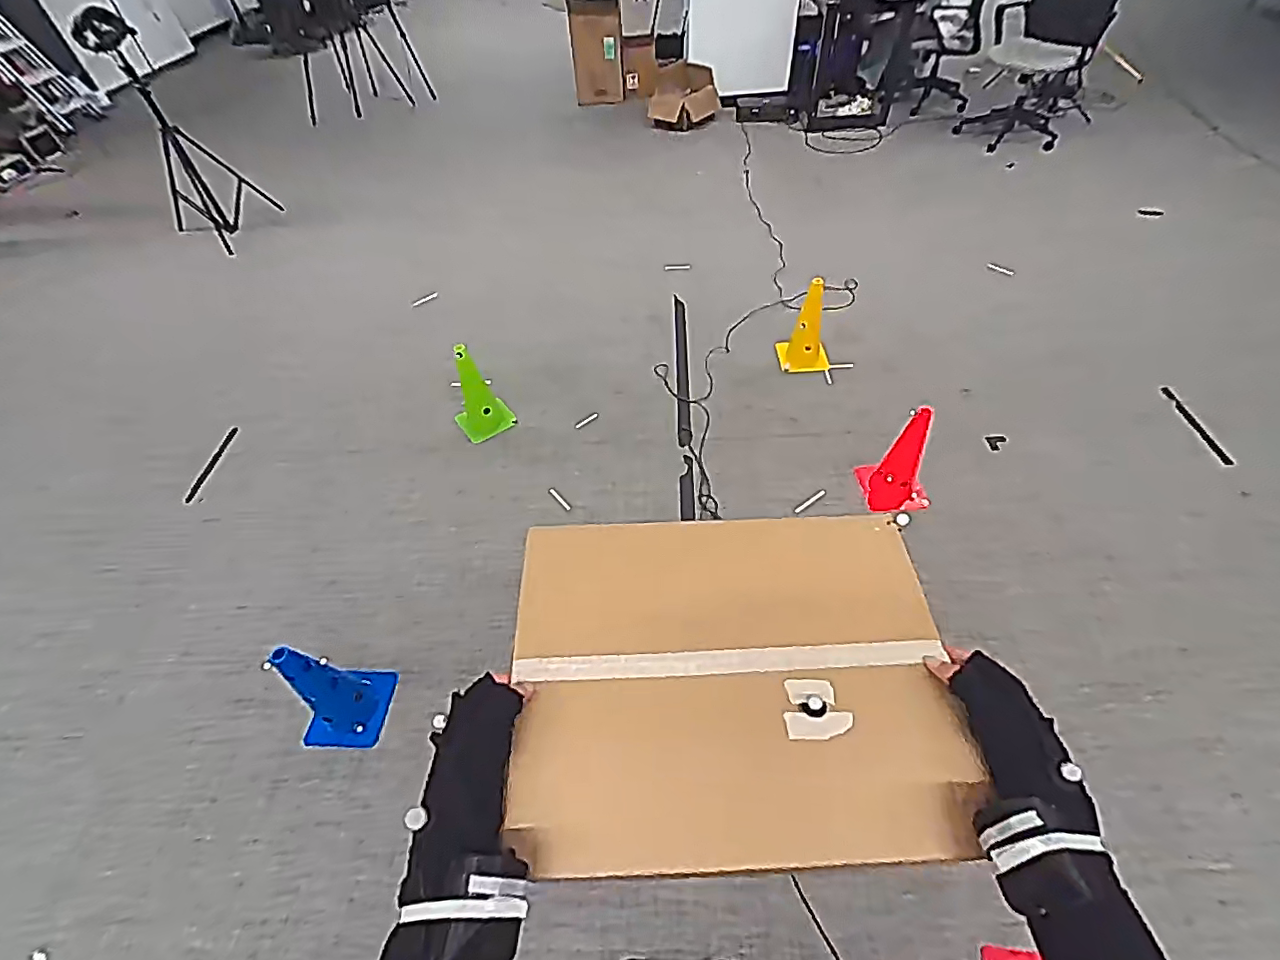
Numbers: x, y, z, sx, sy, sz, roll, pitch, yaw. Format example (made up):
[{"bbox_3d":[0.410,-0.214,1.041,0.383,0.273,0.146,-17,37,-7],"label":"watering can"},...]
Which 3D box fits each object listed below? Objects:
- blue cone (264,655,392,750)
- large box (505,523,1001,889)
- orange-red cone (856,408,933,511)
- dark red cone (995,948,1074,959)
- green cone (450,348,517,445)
[{"bbox_3d":[-0.796,0.526,1.346,0.192,0.380,0.193,0,50,6],"label":"blue cone"},{"bbox_3d":[0.083,0.268,0.629,0.408,0.320,0.320,-2,53,-1],"label":"large box"},{"bbox_3d":[0.845,-0.086,1.715,0.198,0.360,0.199,-3,48,1],"label":"orange-red cone"},{"bbox_3d":[0.760,0.891,0.860,0.201,0.394,0.202,2,50,8],"label":"dark red cone"},{"bbox_3d":[-0.633,-0.346,2.050,0.202,0.368,0.200,-33,54,-19],"label":"green cone"}]
